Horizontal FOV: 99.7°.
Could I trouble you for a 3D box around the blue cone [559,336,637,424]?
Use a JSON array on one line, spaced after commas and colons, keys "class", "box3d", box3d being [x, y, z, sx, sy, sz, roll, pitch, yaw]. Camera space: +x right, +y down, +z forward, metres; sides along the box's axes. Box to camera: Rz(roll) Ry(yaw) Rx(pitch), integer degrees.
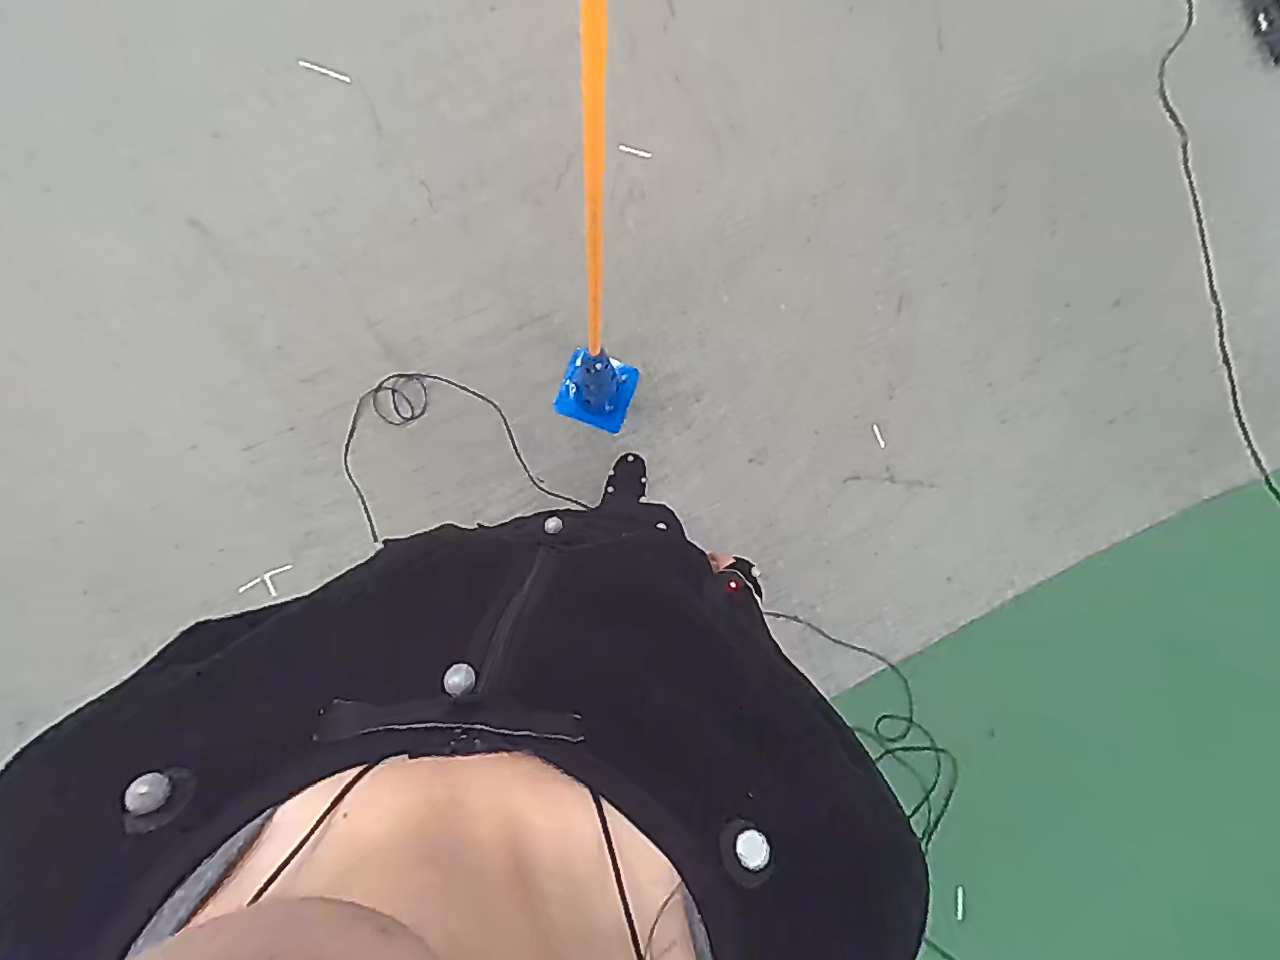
[{"class": "blue cone", "box3d": [-0.105, -0.278, 1.335, 0.192, 0.380, 0.193, 19, 84, -3]}]
